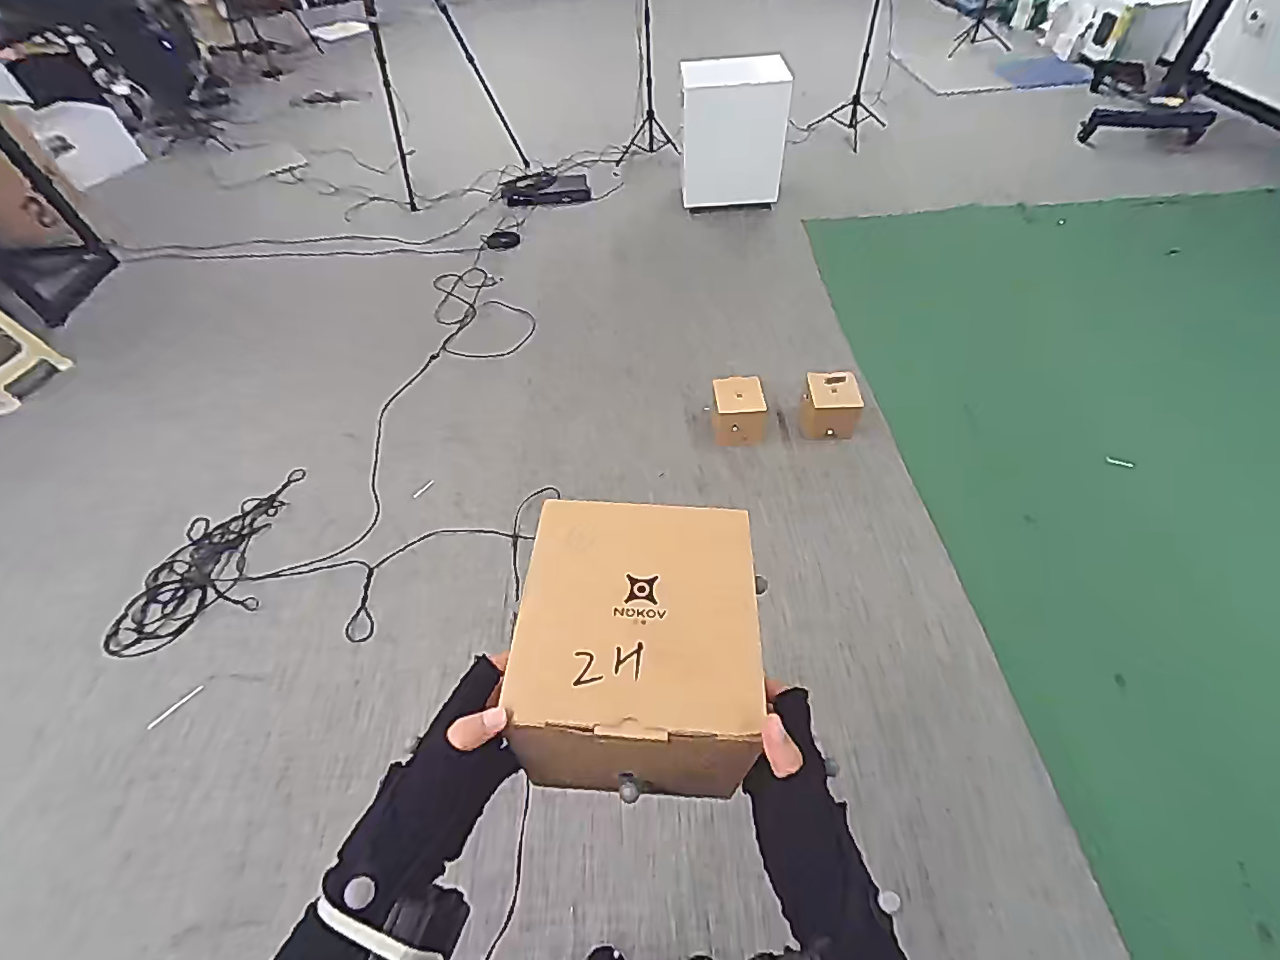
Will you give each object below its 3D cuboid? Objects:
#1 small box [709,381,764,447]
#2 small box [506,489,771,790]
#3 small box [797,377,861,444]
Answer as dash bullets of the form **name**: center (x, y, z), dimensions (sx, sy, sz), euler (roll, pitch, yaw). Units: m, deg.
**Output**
- **small box**: center (0.342, -0.231, 1.943), dimensions (0.168, 0.176, 0.179), euler (-4, 50, 0)
- **small box**: center (0.002, 0.130, 0.441), dimensions (0.168, 0.176, 0.179), euler (3, 48, 2)
- **small box**: center (0.667, -0.249, 1.935), dimensions (0.168, 0.176, 0.179), euler (-1, 52, 3)
